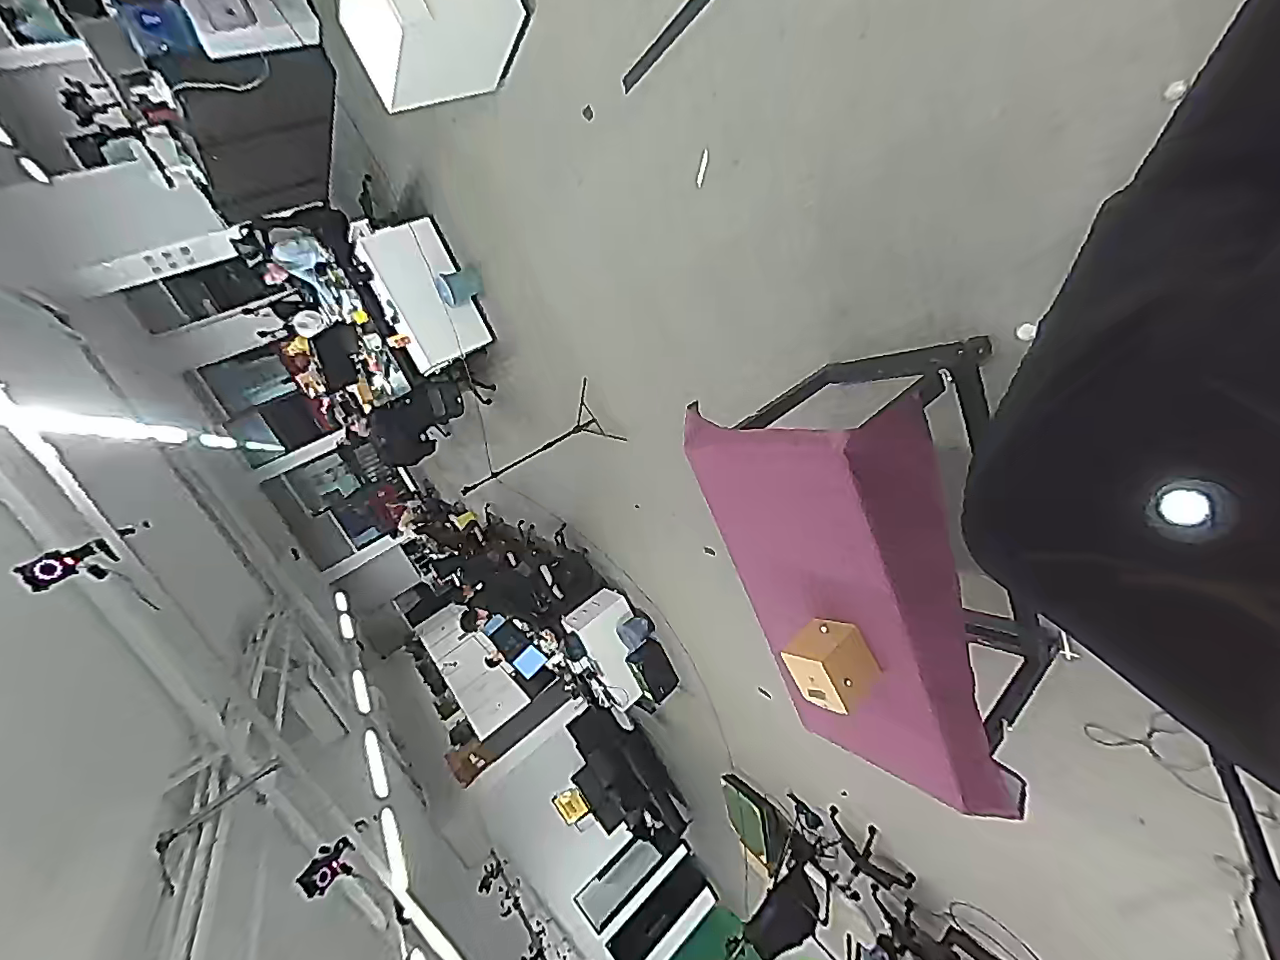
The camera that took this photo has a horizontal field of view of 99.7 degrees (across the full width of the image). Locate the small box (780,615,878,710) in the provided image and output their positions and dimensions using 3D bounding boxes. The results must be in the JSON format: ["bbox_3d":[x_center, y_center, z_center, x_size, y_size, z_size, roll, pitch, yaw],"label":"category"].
[{"bbox_3d":[0.544,0.517,1.552,0.179,0.176,0.168,60,154,-8],"label":"small box"}]
